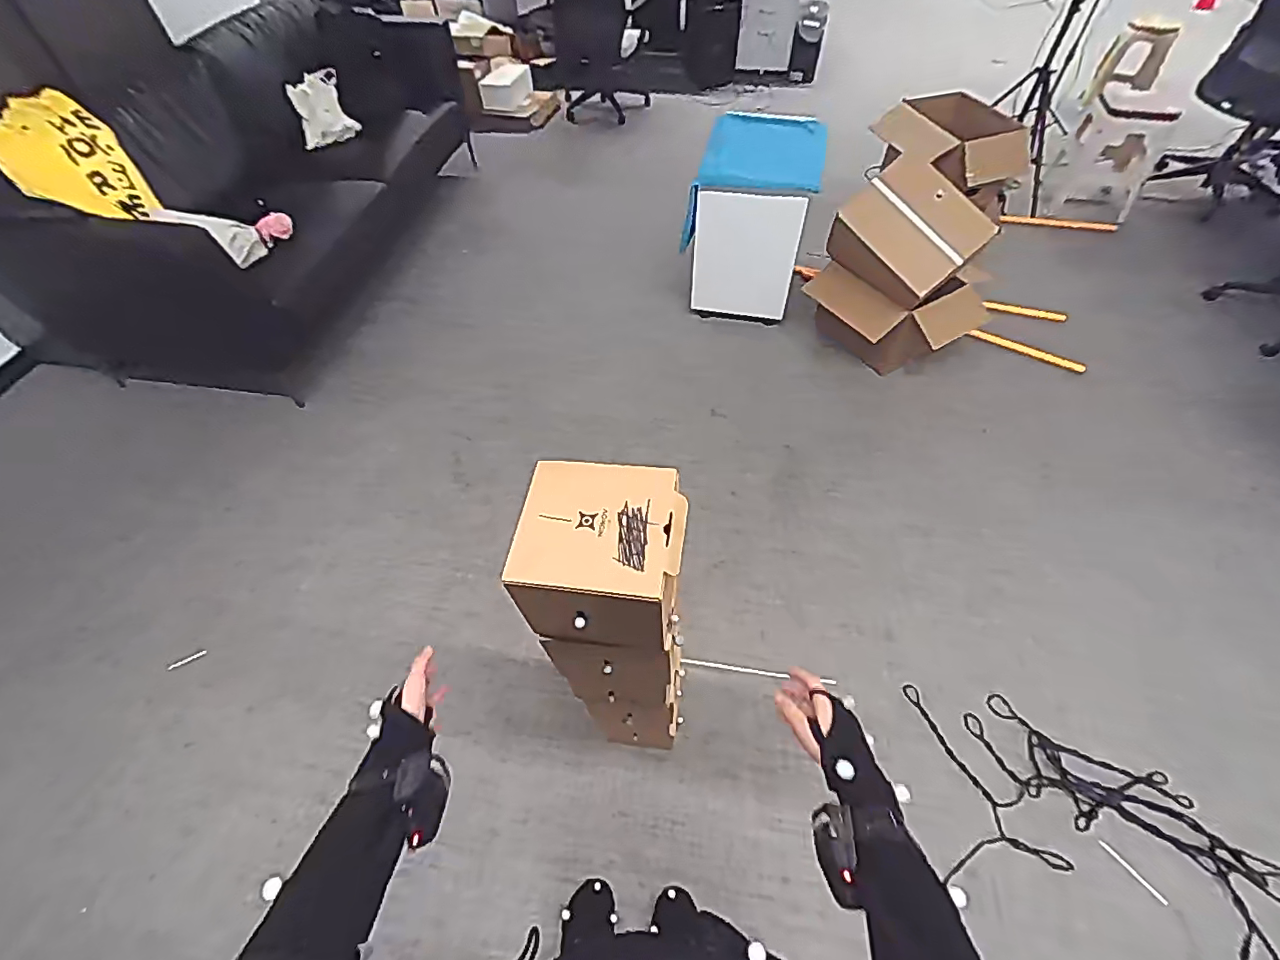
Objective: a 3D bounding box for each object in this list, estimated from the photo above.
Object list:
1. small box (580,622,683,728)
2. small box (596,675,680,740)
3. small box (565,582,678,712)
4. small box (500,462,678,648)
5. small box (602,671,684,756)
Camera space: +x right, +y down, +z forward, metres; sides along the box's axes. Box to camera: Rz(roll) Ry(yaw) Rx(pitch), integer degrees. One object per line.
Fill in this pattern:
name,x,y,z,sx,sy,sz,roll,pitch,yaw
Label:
small box,-0.010,0.382,1.073,0.179,0.176,0.168,4,53,6
small box,-0.005,0.469,1.211,0.179,0.176,0.168,6,54,7
small box,-0.023,0.286,0.943,0.168,0.176,0.179,4,54,7
small box,-0.046,0.098,0.674,0.179,0.176,0.168,4,54,9
small box,0.012,0.570,1.339,0.179,0.176,0.168,6,53,7
